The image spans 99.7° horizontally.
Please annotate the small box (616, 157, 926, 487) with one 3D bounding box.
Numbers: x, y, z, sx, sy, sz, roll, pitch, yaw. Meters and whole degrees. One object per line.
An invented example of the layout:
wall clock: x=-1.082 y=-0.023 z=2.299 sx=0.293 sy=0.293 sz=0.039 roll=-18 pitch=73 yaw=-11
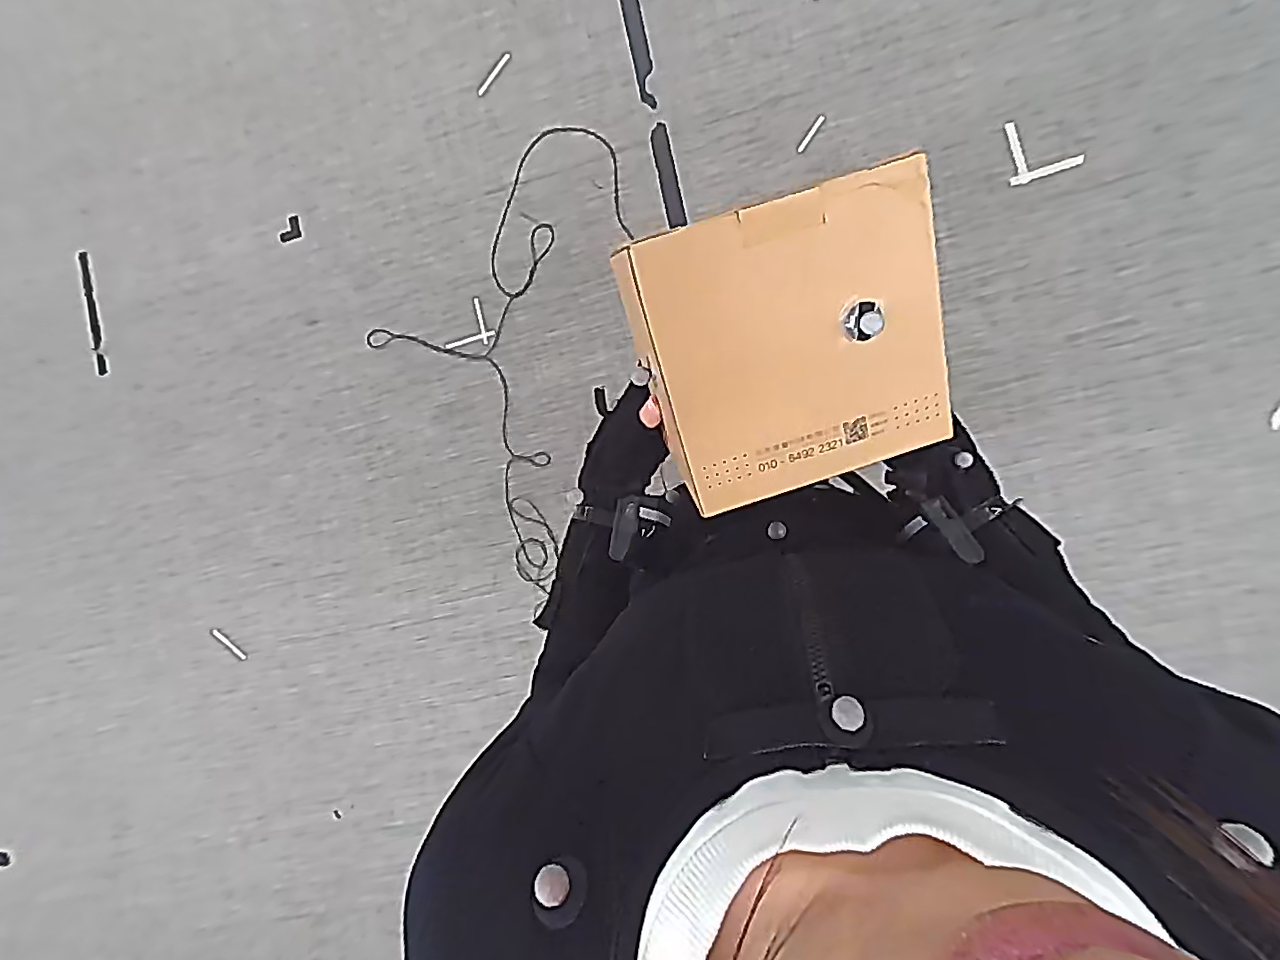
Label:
small box: x=0.088 y=-0.109 z=0.406 sx=0.168 sy=0.179 sz=0.176 roll=-17 pitch=111 yaw=1
